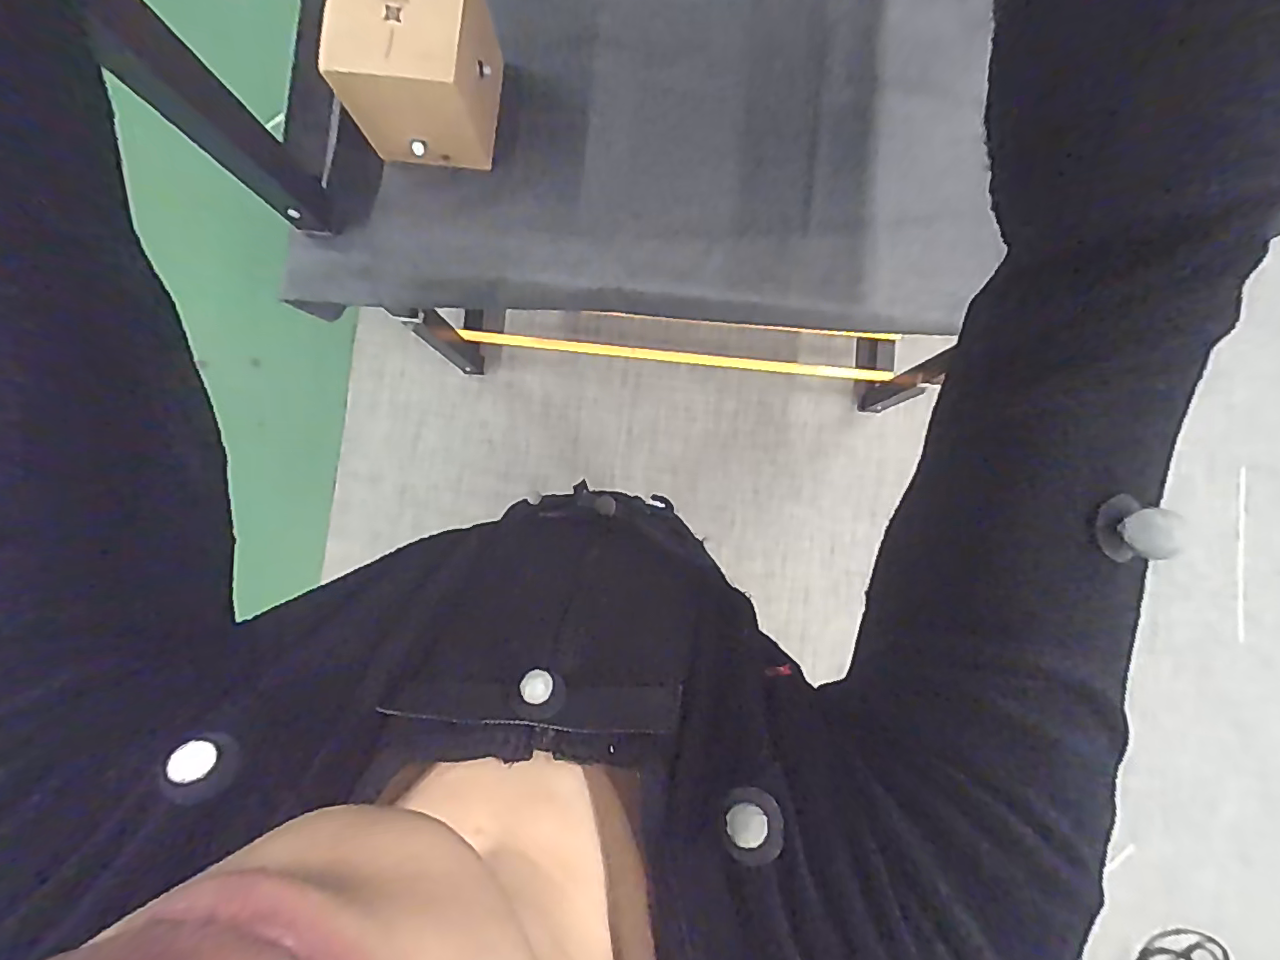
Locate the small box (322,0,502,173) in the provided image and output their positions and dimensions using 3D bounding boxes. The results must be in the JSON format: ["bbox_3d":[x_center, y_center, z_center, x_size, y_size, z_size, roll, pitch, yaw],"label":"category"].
[{"bbox_3d":[-0.292,-0.558,0.732,0.168,0.176,0.179,5,86,0],"label":"small box"}]
